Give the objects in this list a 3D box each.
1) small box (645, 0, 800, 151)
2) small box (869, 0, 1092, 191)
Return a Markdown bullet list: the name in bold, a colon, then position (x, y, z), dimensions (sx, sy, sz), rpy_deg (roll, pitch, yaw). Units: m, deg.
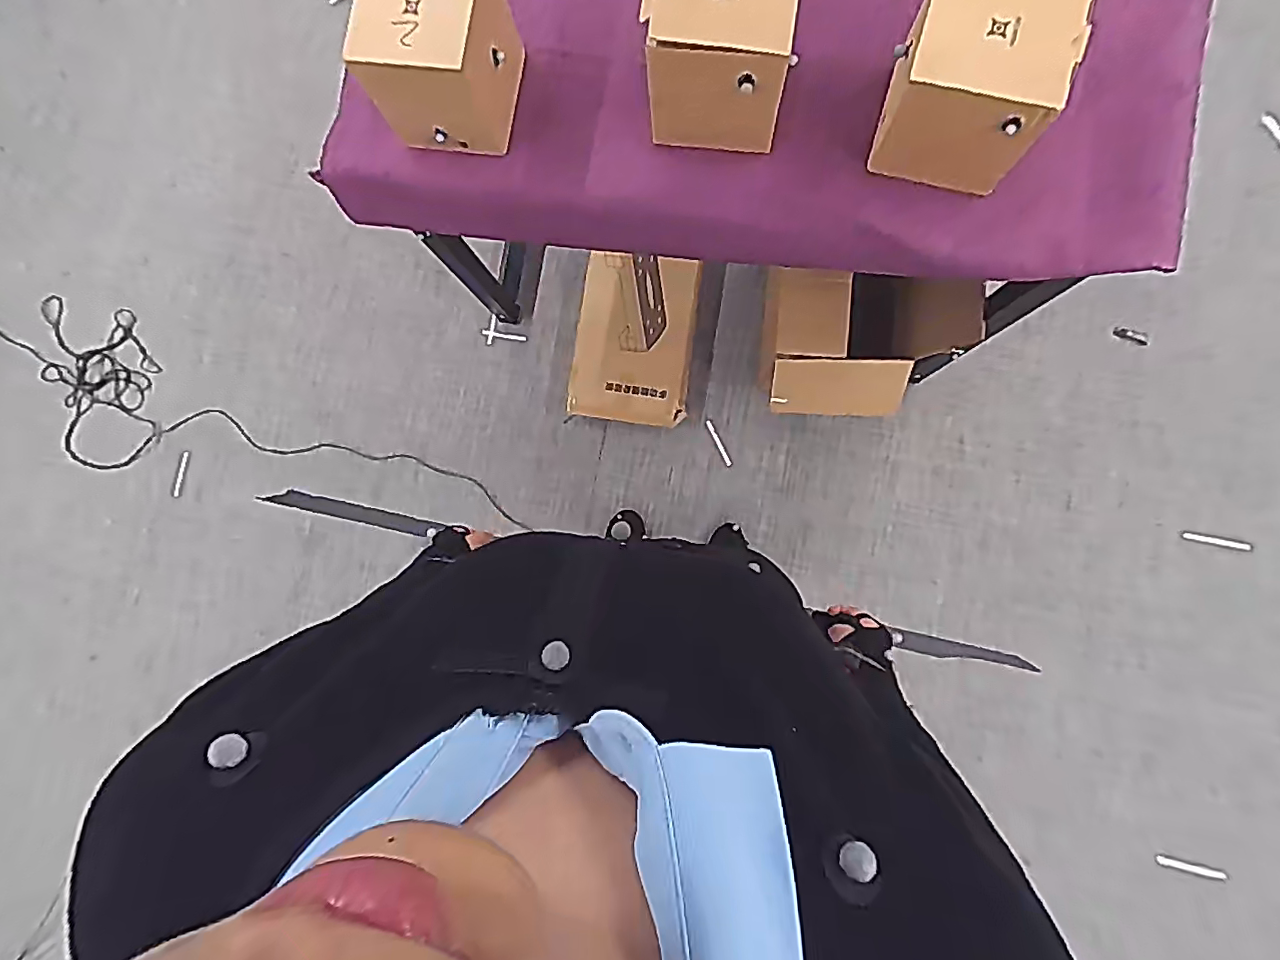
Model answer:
- **small box**: position (0.111, -0.577, 0.727), dimensions (0.179, 0.176, 0.168), rpy_deg (9, 84, 6)
- **small box**: position (0.419, -0.505, 0.694), dimensions (0.179, 0.176, 0.168), rpy_deg (16, 87, 6)
